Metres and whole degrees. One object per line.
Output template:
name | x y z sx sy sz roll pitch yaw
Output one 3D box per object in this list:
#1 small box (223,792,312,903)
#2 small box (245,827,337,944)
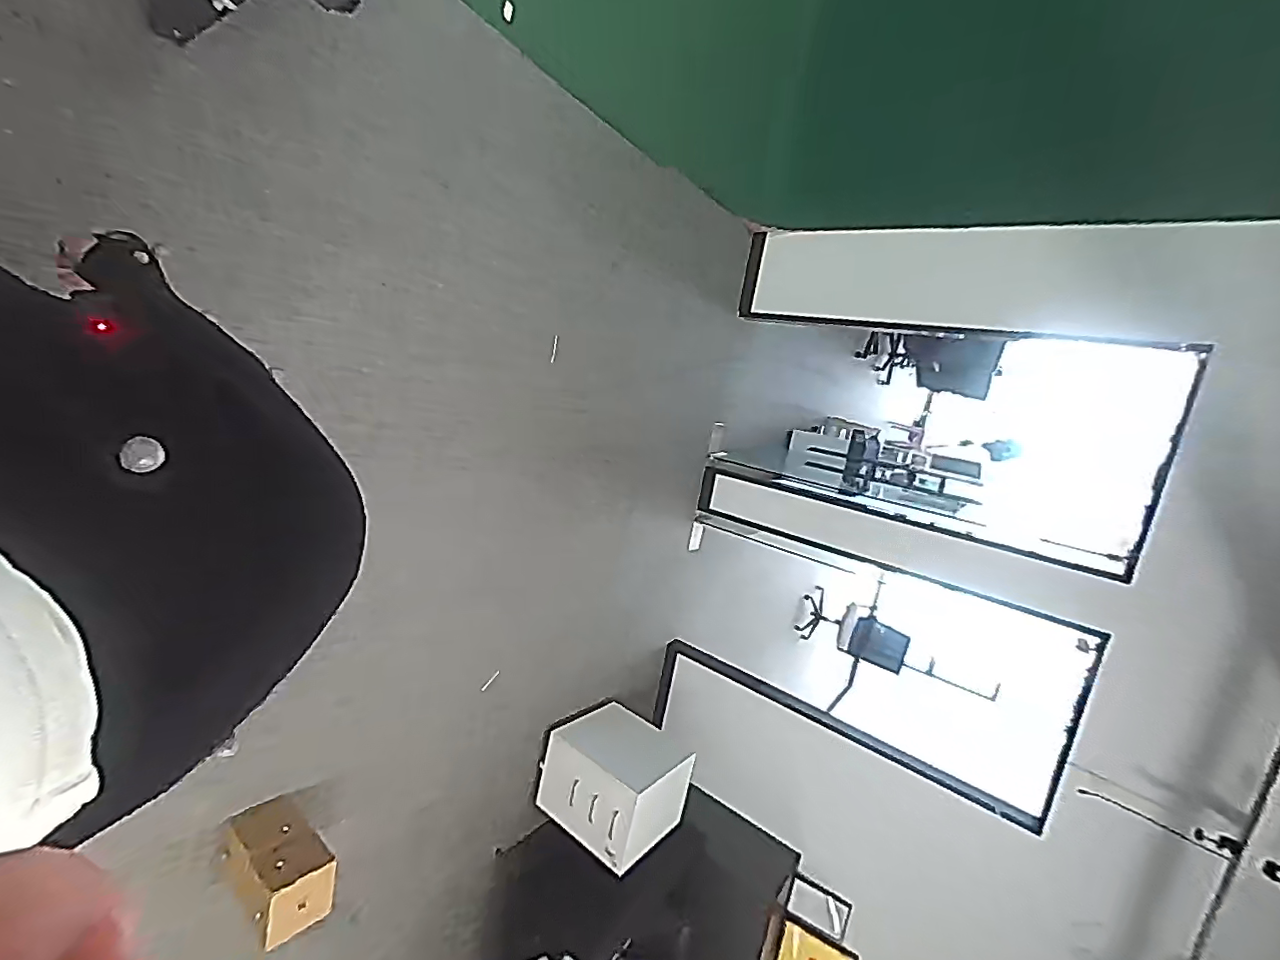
small box | -1.112 1.081 1.608 0.168 0.176 0.179 0 104 -56
small box | -0.982 1.121 1.519 0.168 0.176 0.179 -3 108 -54
